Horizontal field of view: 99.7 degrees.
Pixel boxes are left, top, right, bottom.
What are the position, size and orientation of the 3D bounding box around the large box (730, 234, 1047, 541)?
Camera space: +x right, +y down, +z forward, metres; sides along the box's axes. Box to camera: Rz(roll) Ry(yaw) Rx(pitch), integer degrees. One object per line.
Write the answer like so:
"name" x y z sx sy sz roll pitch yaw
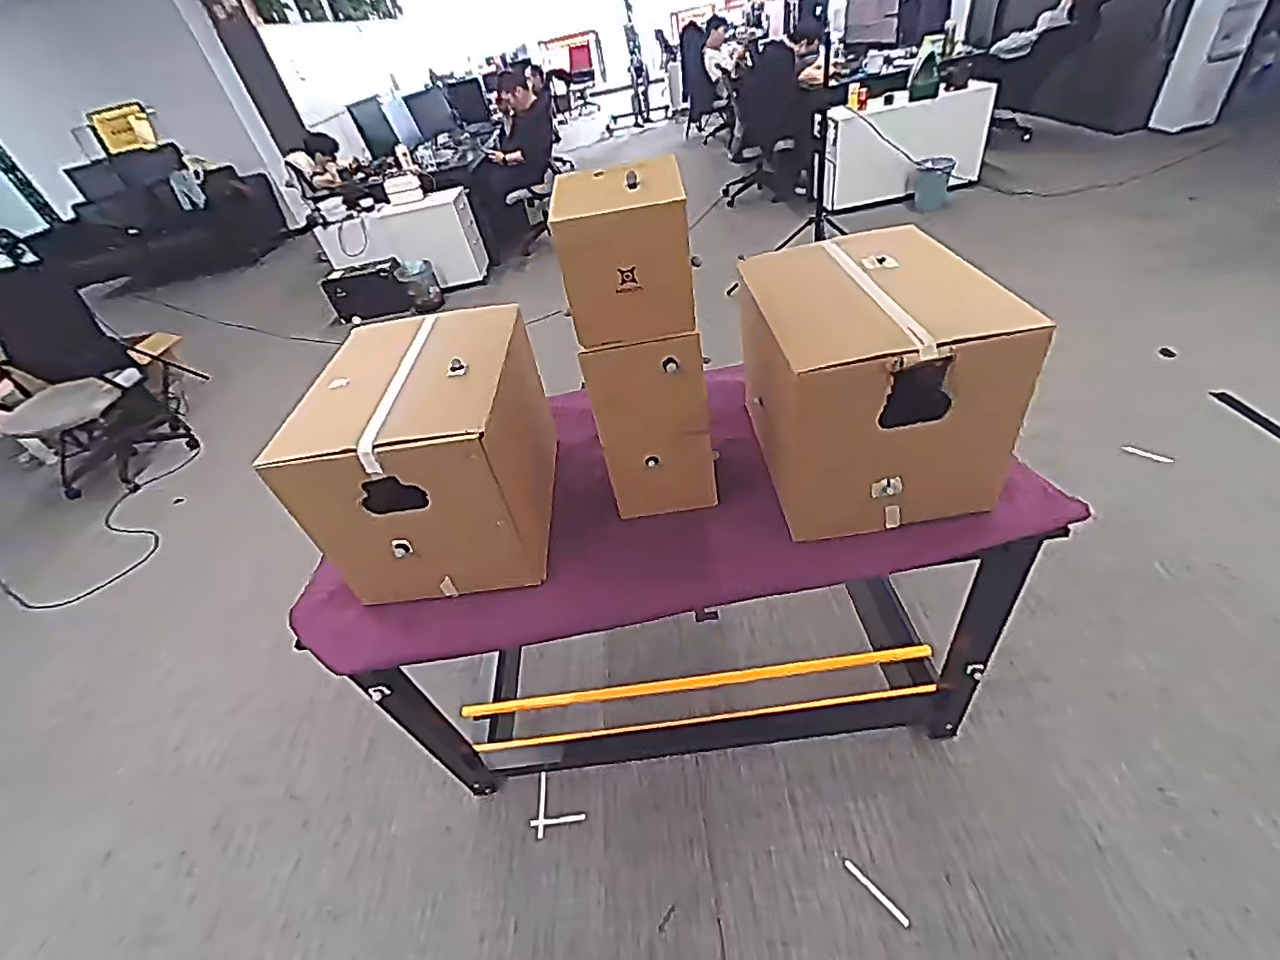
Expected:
"large box" 0.350 -0.163 0.892 0.320 0.320 0.408 -9 39 3
